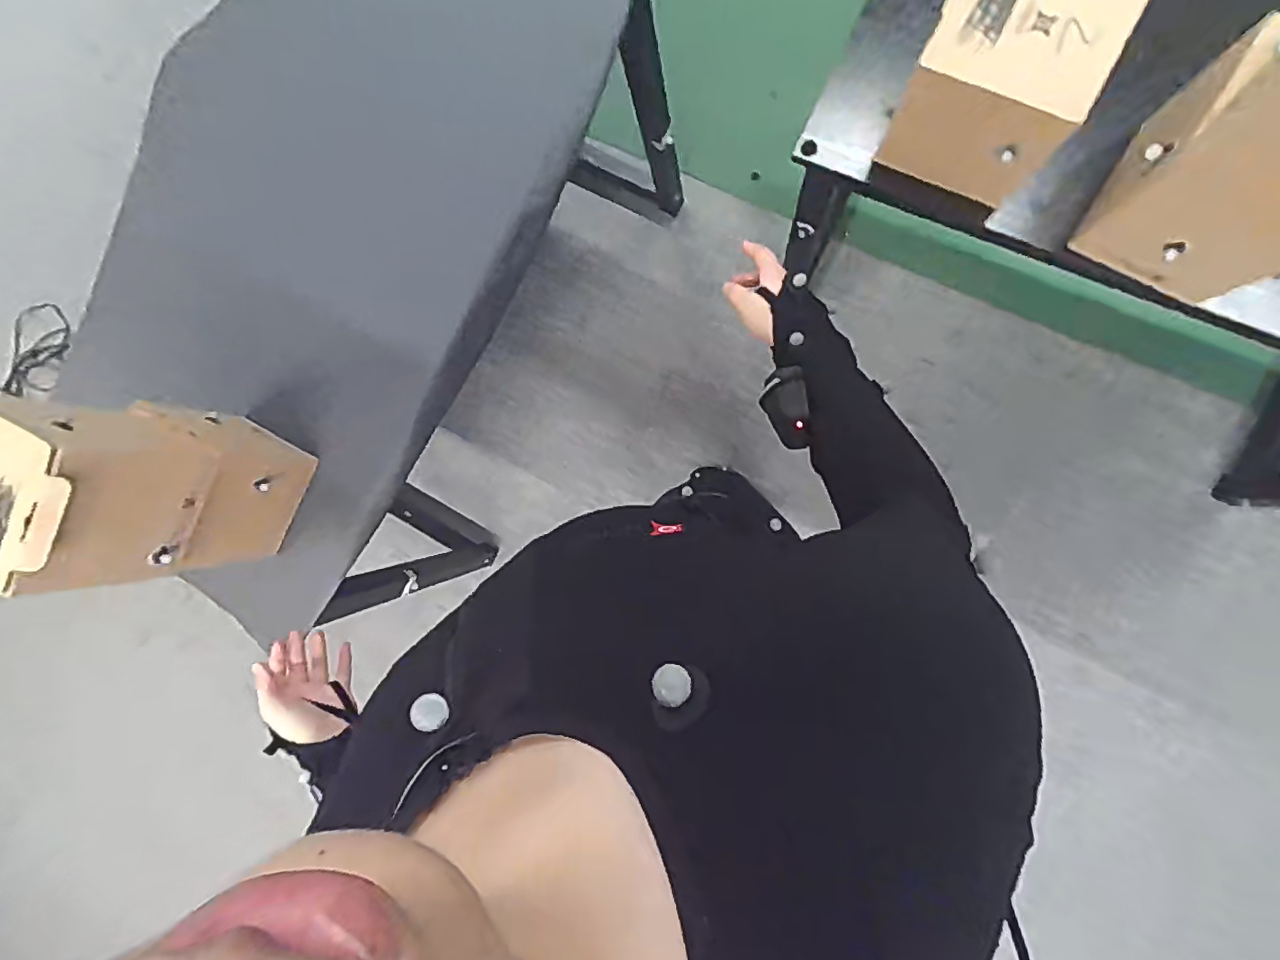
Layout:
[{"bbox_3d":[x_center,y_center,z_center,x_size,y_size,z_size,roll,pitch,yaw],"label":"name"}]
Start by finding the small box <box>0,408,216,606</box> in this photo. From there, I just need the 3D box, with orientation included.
[{"bbox_3d":[-0.655,0.023,0.632,0.179,0.176,0.168,22,92,12],"label":"small box"}]

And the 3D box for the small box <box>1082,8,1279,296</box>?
[{"bbox_3d":[0.637,-0.329,0.582,0.168,0.176,0.179,31,94,8],"label":"small box"}]

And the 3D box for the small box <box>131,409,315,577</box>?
[{"bbox_3d":[-0.622,0.017,0.794,0.168,0.176,0.179,26,95,11],"label":"small box"}]

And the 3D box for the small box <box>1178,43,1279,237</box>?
[{"bbox_3d":[0.612,-0.306,0.422,0.179,0.176,0.168,39,96,8],"label":"small box"}]
